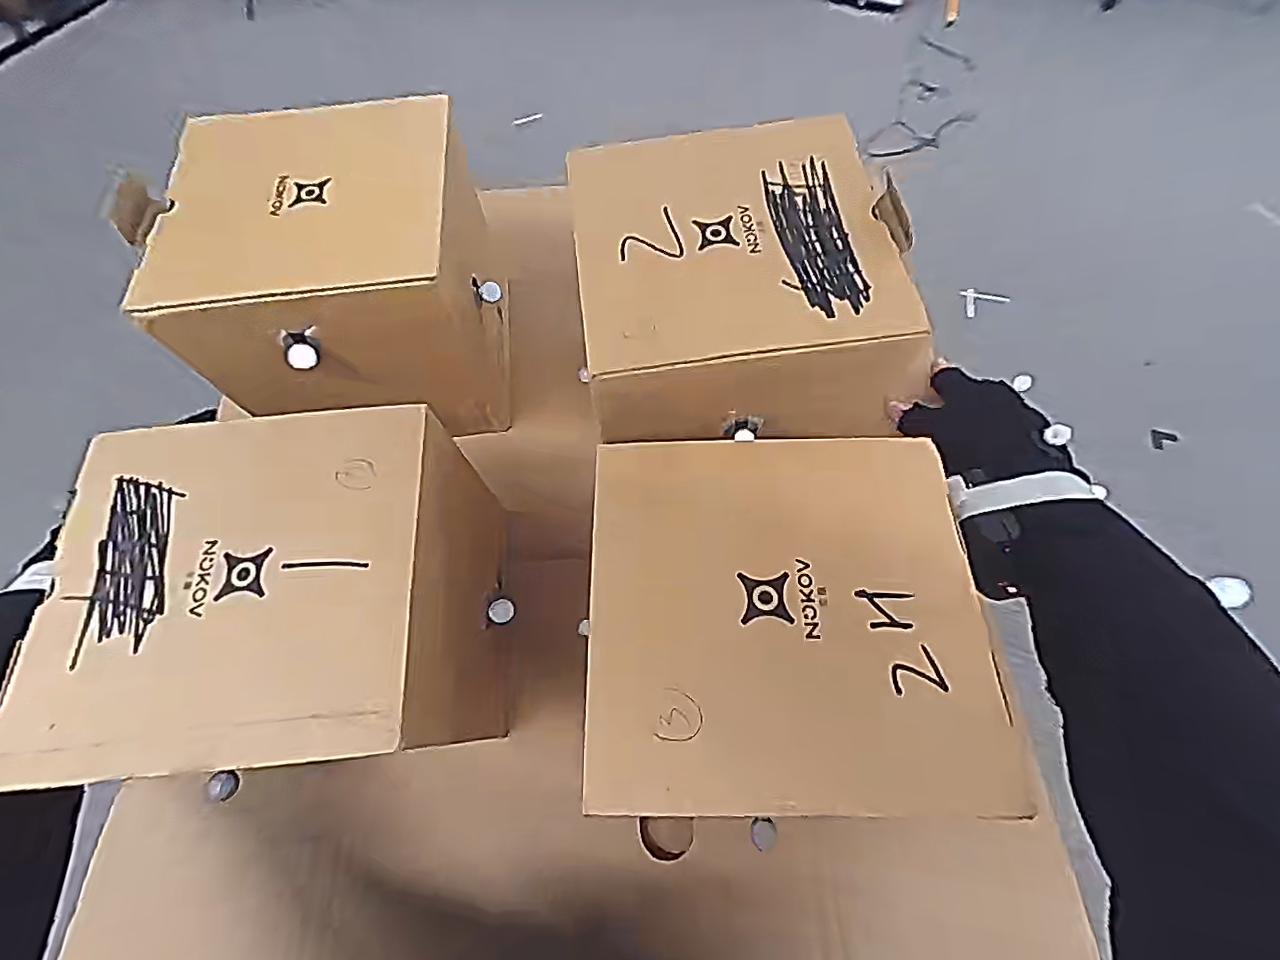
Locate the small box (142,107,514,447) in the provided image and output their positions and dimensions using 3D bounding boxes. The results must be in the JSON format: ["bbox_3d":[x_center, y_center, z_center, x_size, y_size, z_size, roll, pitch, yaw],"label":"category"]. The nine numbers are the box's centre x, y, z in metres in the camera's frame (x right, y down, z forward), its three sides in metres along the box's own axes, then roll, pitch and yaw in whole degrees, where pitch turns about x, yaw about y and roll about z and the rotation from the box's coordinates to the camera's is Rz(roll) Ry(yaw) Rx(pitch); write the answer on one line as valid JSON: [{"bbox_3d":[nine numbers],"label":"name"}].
[{"bbox_3d":[-0.199,-0.140,0.411,0.179,0.176,0.168,-6,64,1],"label":"small box"}]
